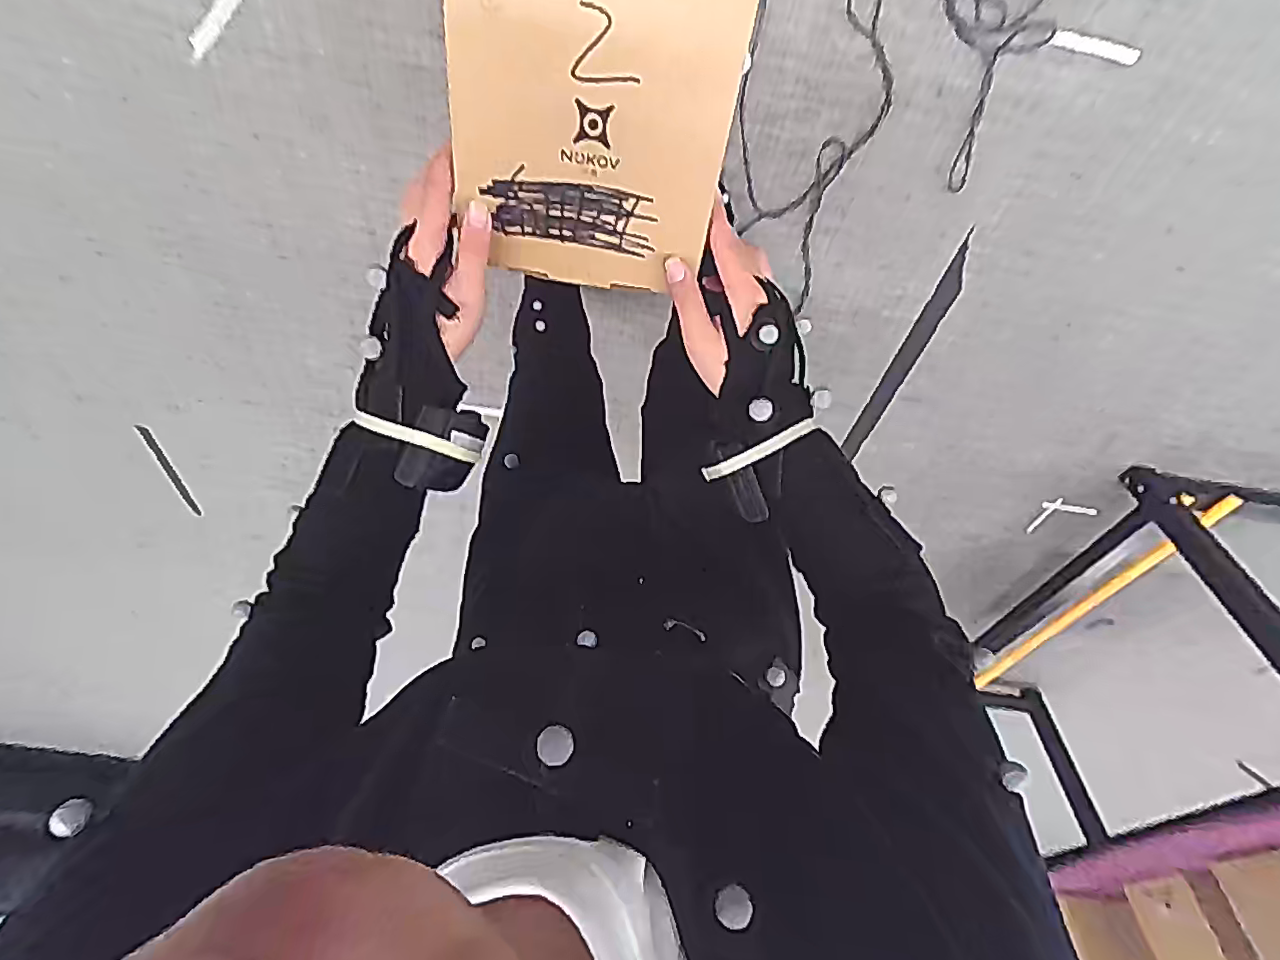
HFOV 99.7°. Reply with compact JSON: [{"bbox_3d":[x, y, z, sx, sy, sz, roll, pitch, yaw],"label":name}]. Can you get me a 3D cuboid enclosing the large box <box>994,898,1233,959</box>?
[{"bbox_3d":[1.222,1.281,1.359,0.408,0.320,0.320,8,135,-4],"label":"large box"}]
